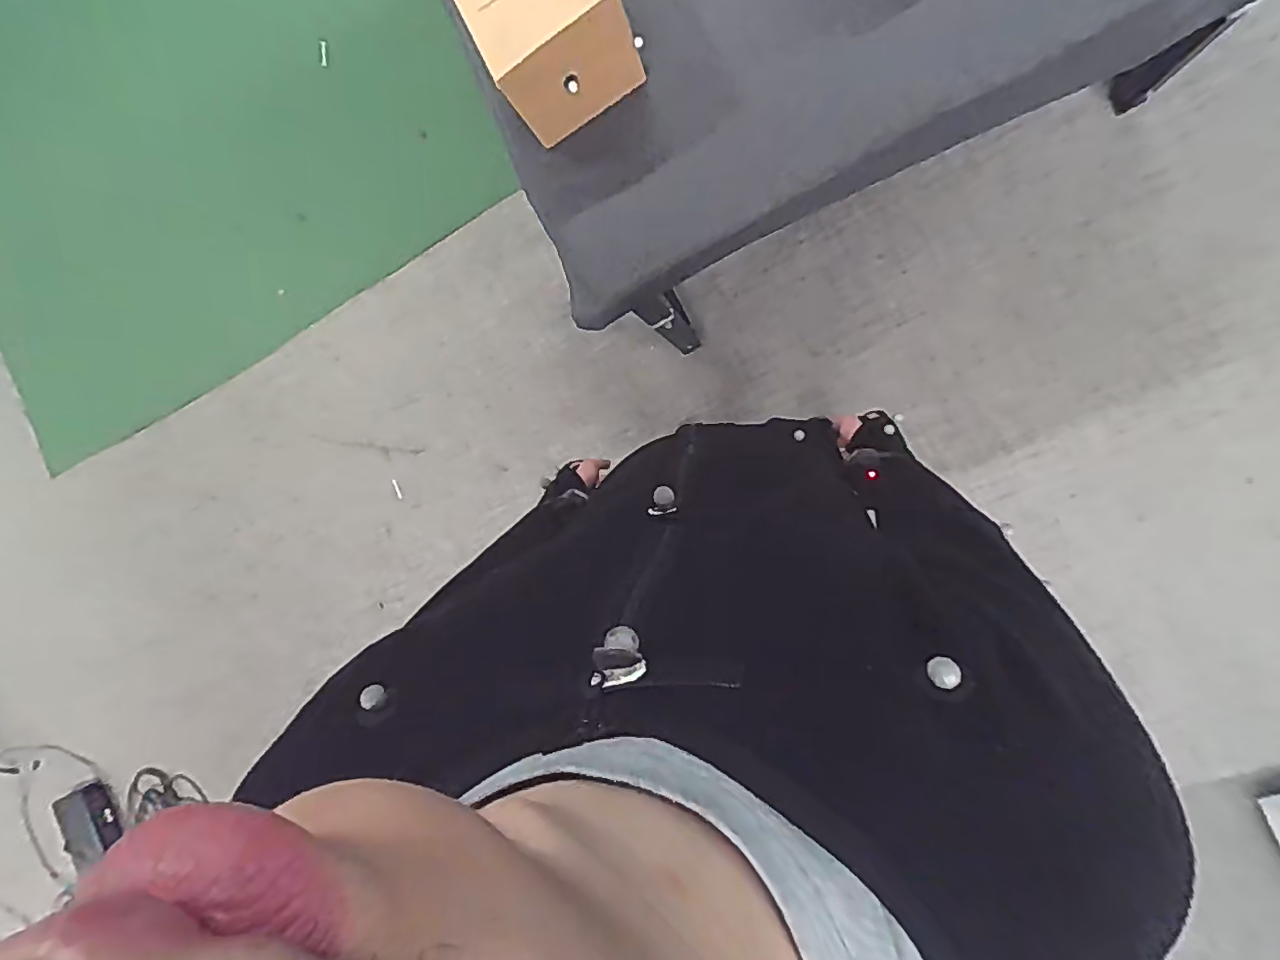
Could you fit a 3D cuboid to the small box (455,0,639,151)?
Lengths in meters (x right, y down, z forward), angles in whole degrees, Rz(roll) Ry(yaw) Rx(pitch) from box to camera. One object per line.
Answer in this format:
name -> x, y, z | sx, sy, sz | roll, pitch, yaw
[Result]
small box -> -0.114, -0.592, 0.721 | 0.179, 0.176, 0.168 | -27, 89, 15
